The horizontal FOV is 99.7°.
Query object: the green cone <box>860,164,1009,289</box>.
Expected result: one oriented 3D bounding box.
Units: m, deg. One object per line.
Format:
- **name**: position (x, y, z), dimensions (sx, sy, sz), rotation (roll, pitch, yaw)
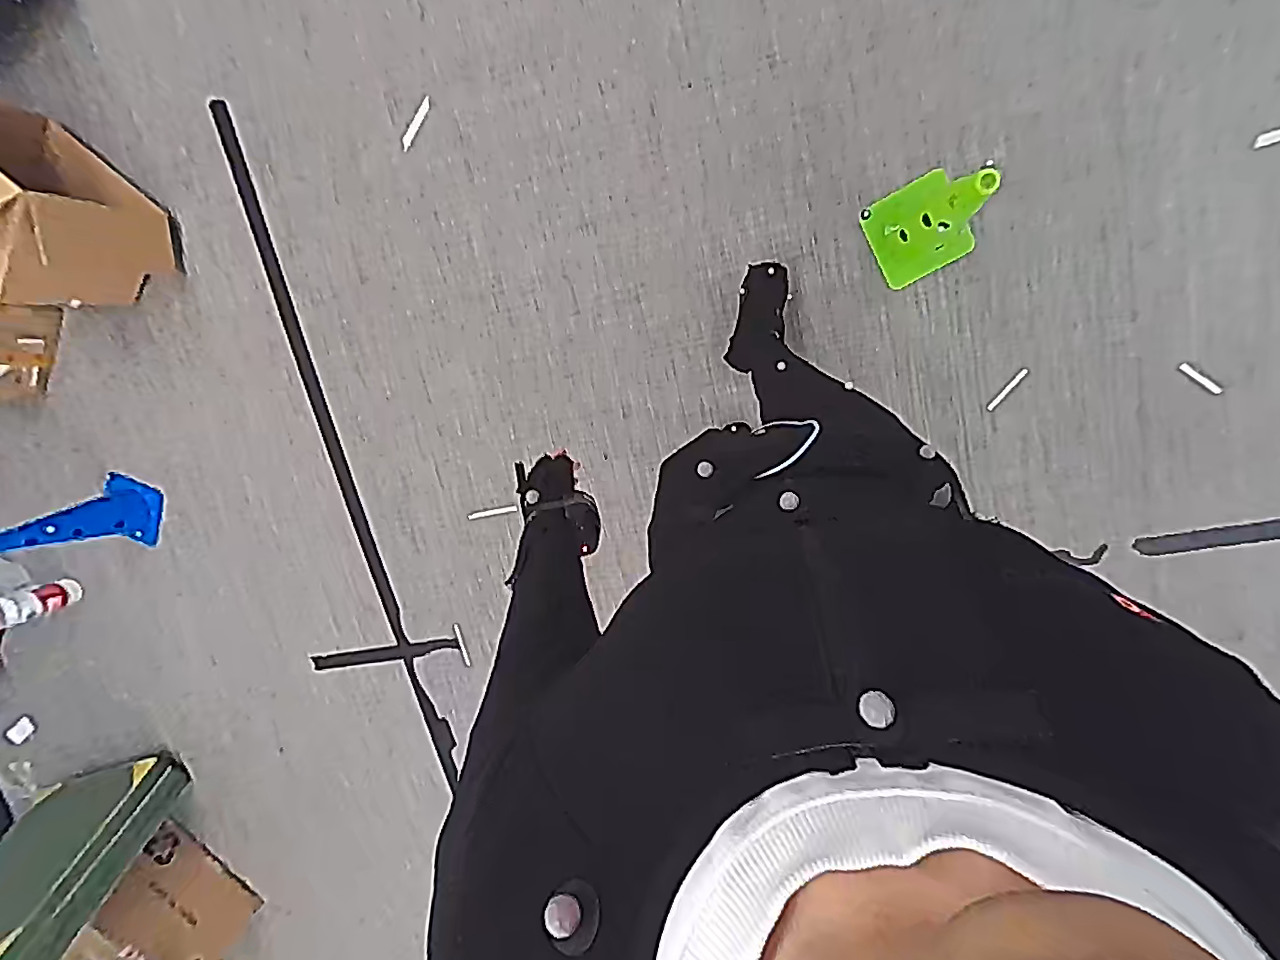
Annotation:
- **green cone**: position (0.606, -0.530, 1.064), dimensions (0.202, 0.368, 0.200), rotation (-28, 97, 12)
